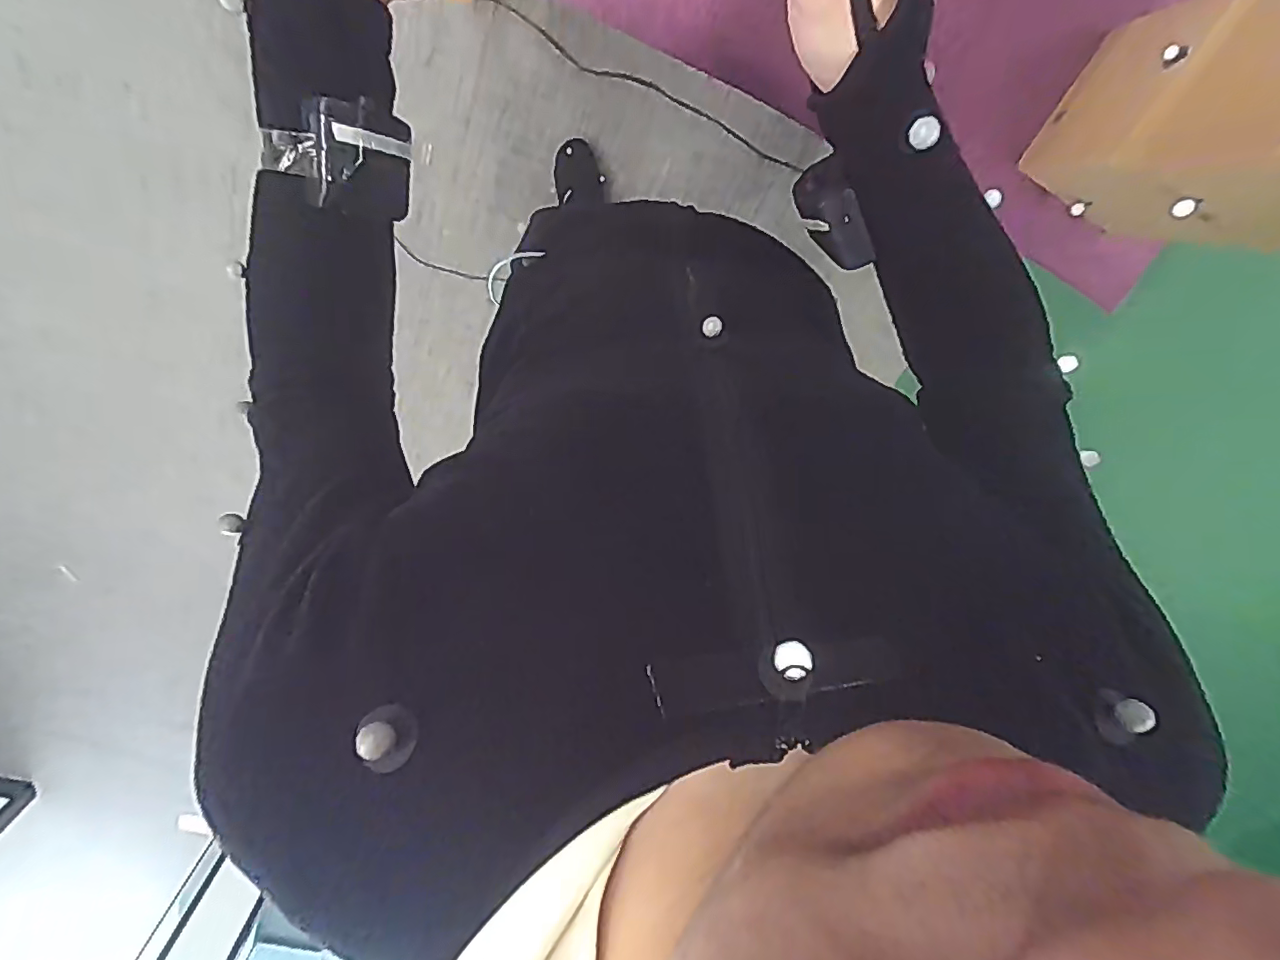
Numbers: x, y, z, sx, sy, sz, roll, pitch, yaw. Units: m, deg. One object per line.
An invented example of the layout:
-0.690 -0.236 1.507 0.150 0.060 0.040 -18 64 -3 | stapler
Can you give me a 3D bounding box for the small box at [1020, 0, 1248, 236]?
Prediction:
0.597 -0.405 0.613 0.179 0.176 0.168 24 115 -13 | small box
